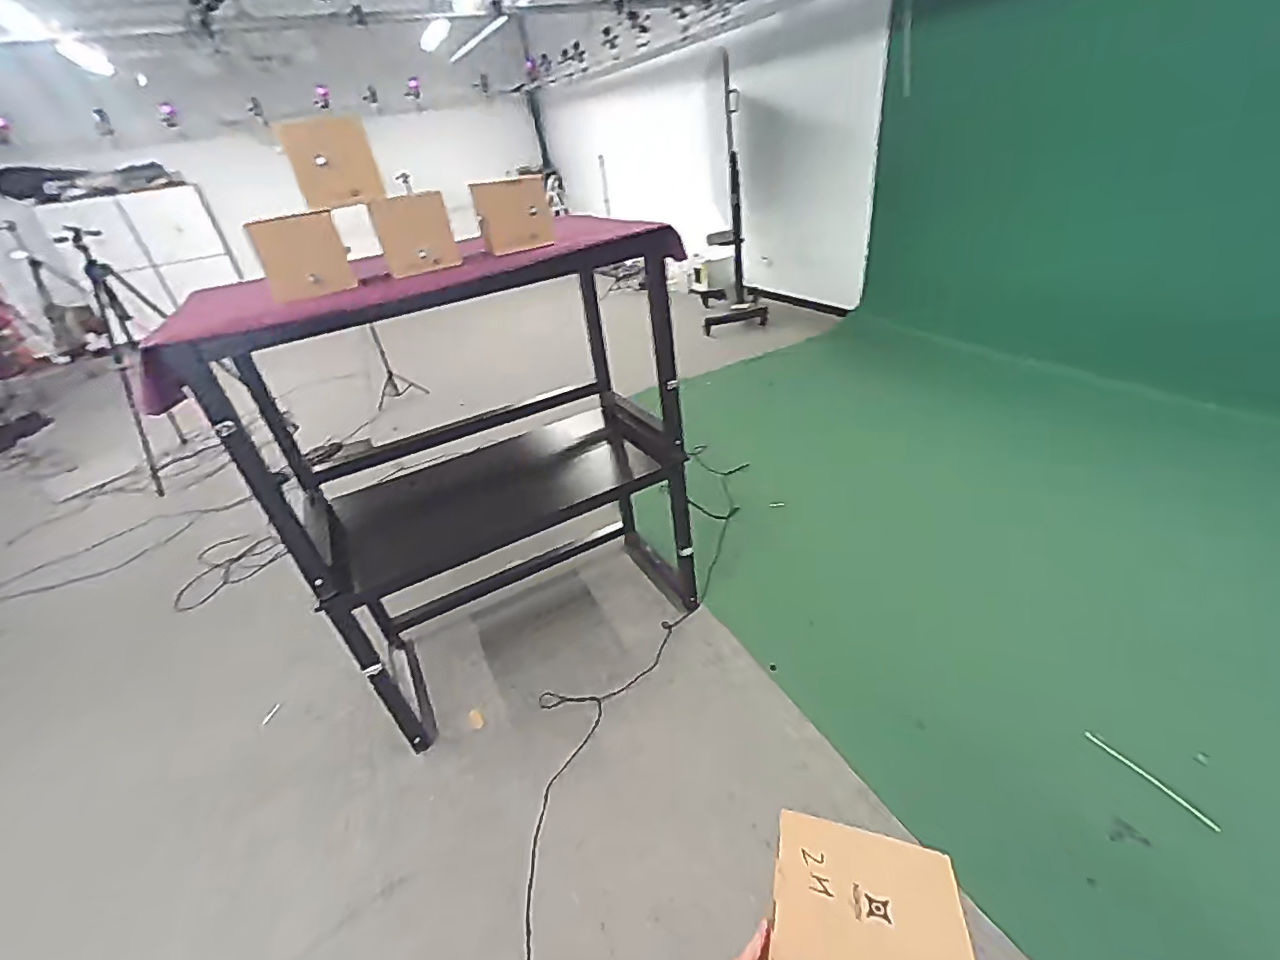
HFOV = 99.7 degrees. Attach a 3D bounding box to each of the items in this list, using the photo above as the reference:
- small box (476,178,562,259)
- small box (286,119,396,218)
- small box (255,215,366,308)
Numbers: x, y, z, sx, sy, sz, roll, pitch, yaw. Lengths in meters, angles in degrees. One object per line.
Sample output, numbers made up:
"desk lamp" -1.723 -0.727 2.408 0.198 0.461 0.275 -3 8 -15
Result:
"small box" -0.320 -0.694 1.437 0.168 0.176 0.179 -19 32 -17
"small box" -0.668 -0.697 1.222 0.168 0.176 0.179 -21 33 -18
"small box" -0.760 -0.516 1.266 0.179 0.176 0.168 -21 33 -20
